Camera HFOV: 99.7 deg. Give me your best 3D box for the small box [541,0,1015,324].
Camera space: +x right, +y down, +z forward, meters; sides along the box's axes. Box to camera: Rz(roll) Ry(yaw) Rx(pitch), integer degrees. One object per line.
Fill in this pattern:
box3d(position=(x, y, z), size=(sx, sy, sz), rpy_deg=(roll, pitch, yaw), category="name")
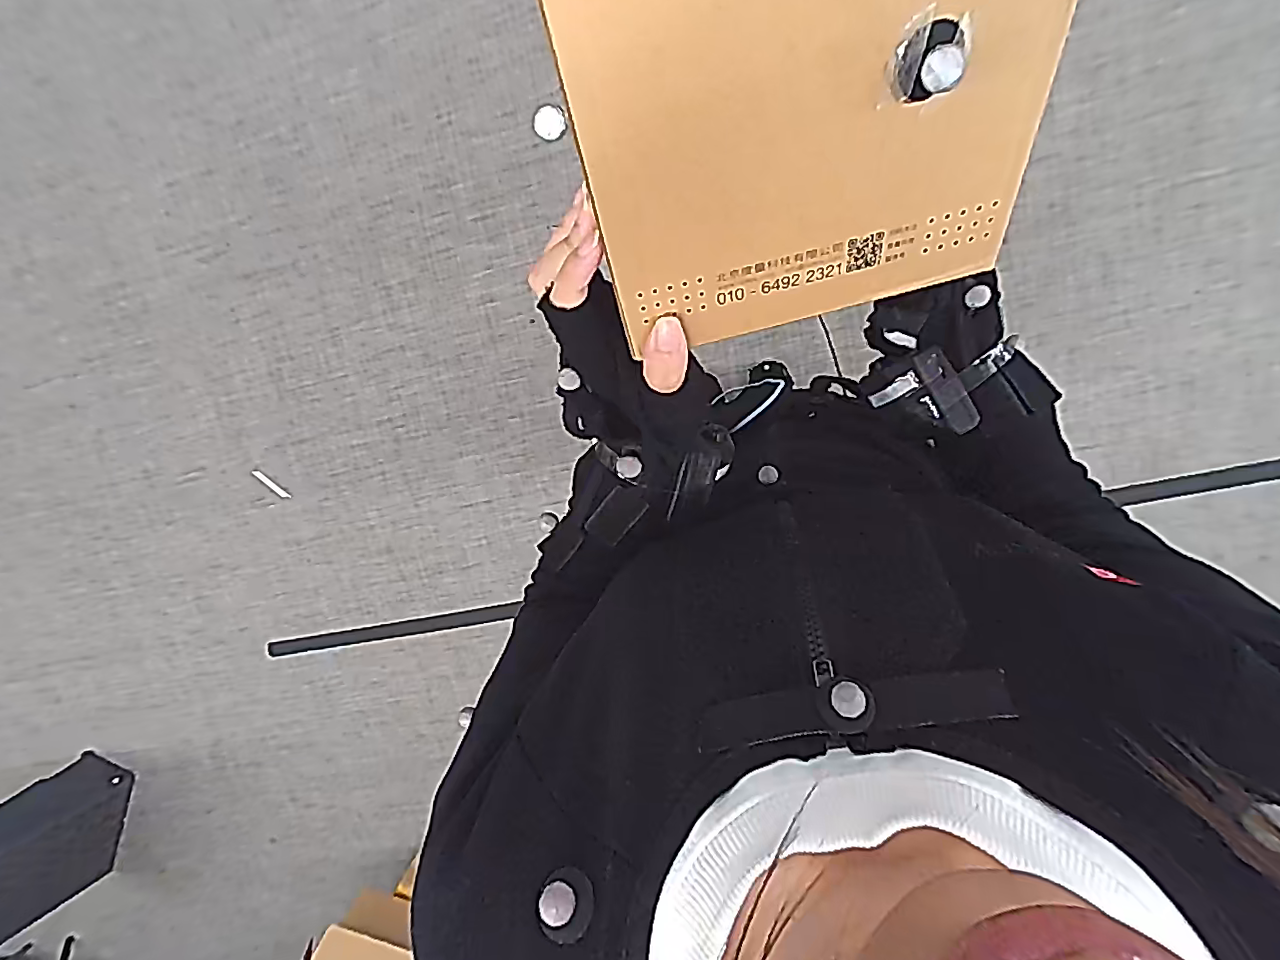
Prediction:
box3d(position=(0.051, -0.194, 0.259), size=(0.168, 0.179, 0.176), rpy_deg=(-13, 139, 4), category="small box")
